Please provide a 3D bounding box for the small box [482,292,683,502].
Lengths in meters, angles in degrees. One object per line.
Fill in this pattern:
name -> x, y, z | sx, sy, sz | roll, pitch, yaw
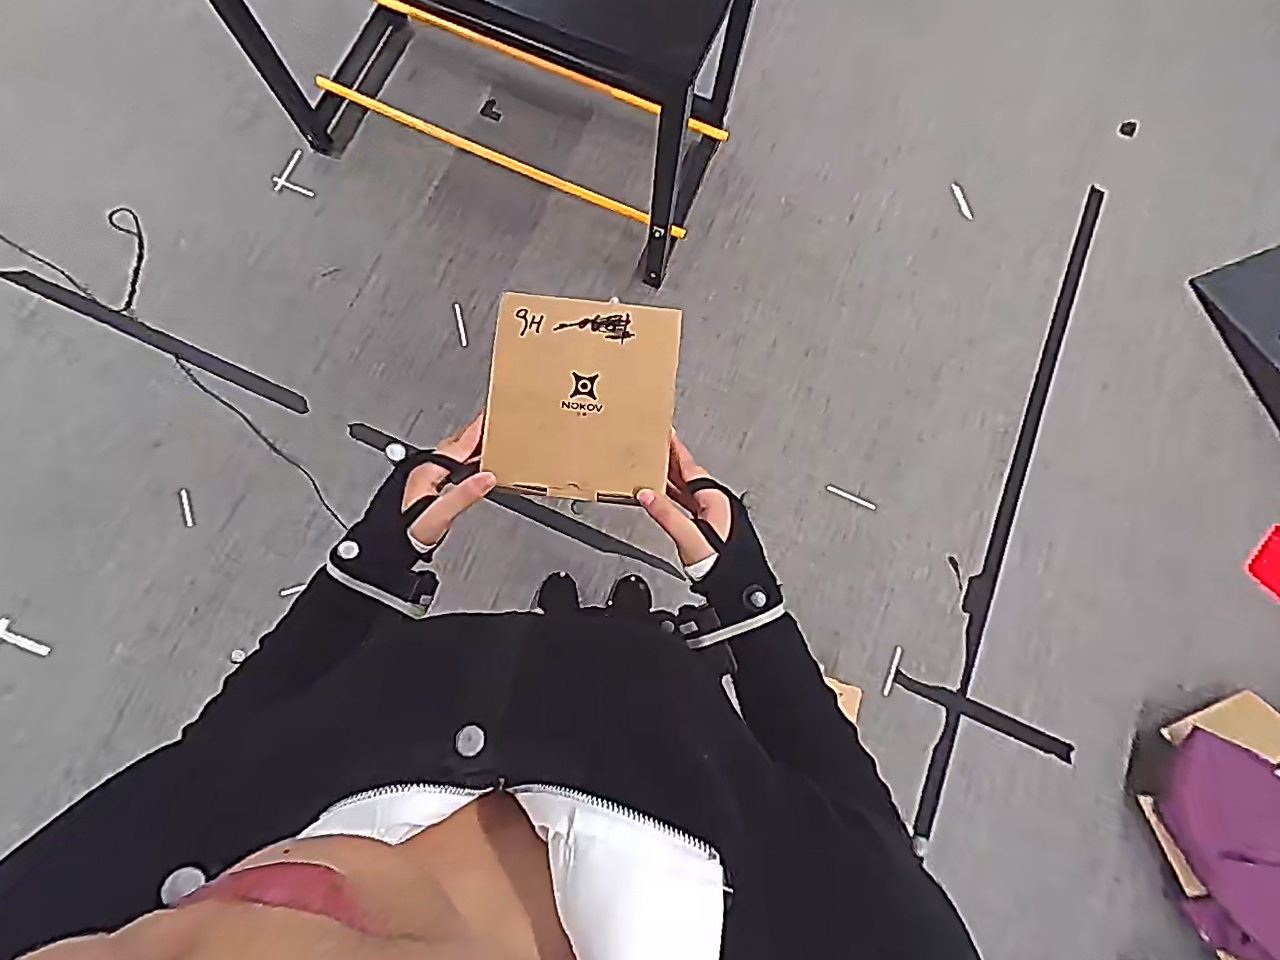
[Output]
small box -> -0.051, -0.071, 0.558 | 0.168, 0.176, 0.179 | 5, 87, -1

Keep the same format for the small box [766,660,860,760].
small box -> 0.438, 0.583, 1.394 | 0.168, 0.176, 0.179 | 17, 79, 0
